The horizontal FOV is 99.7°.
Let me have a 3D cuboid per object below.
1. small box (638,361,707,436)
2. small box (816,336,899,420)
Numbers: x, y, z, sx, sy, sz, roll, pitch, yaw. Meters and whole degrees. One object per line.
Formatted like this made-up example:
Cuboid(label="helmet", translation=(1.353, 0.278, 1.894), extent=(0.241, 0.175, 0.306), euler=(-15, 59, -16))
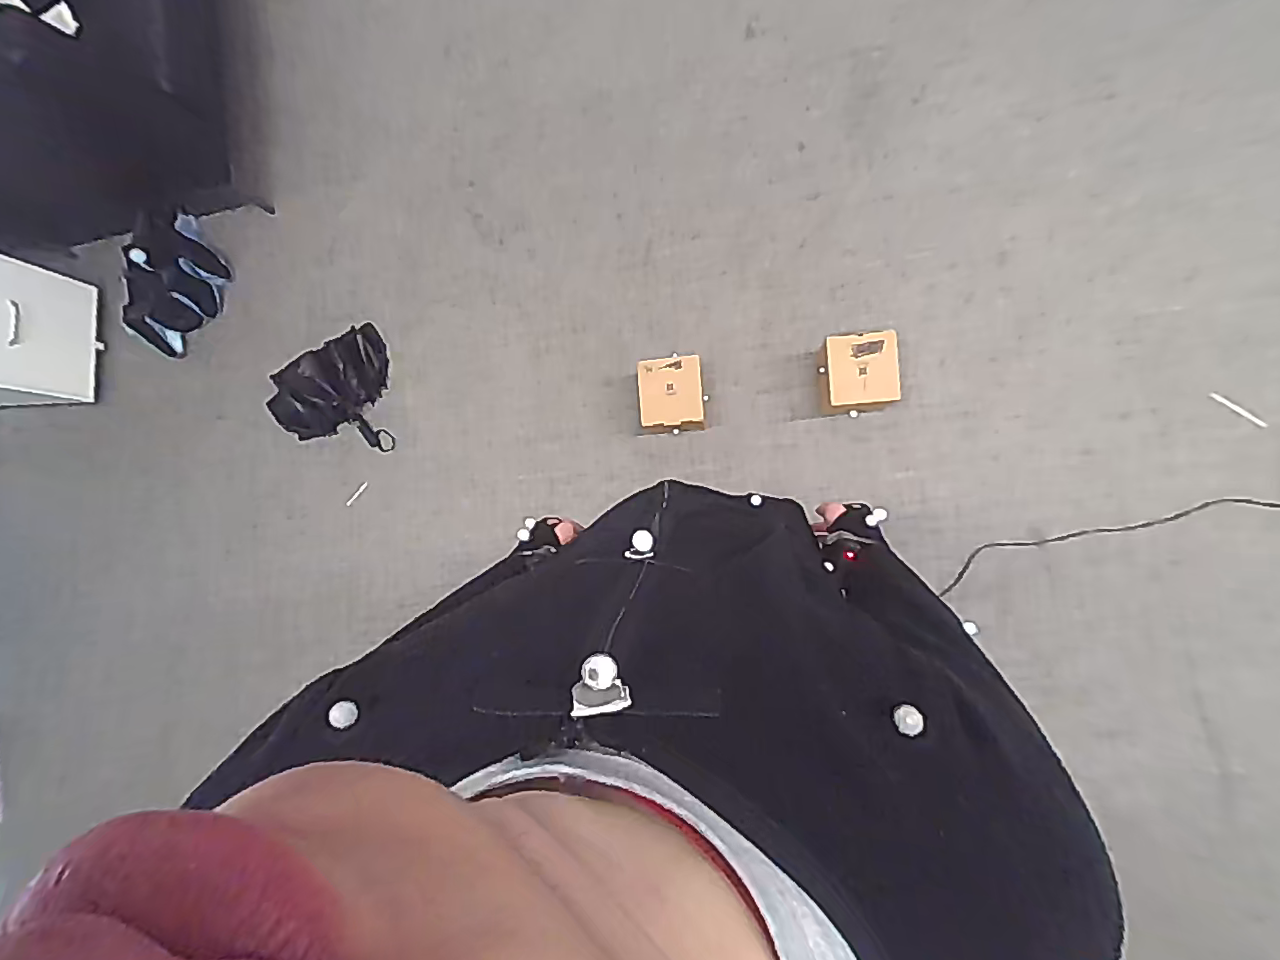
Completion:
Cuboid(label="small box", translation=(0.094, -0.216, 1.492), extent=(0.168, 0.176, 0.179), euler=(-4, 86, 9))
Cuboid(label="small box", translation=(0.562, -0.261, 1.414), extent=(0.168, 0.176, 0.179), euler=(-4, 88, 10))
